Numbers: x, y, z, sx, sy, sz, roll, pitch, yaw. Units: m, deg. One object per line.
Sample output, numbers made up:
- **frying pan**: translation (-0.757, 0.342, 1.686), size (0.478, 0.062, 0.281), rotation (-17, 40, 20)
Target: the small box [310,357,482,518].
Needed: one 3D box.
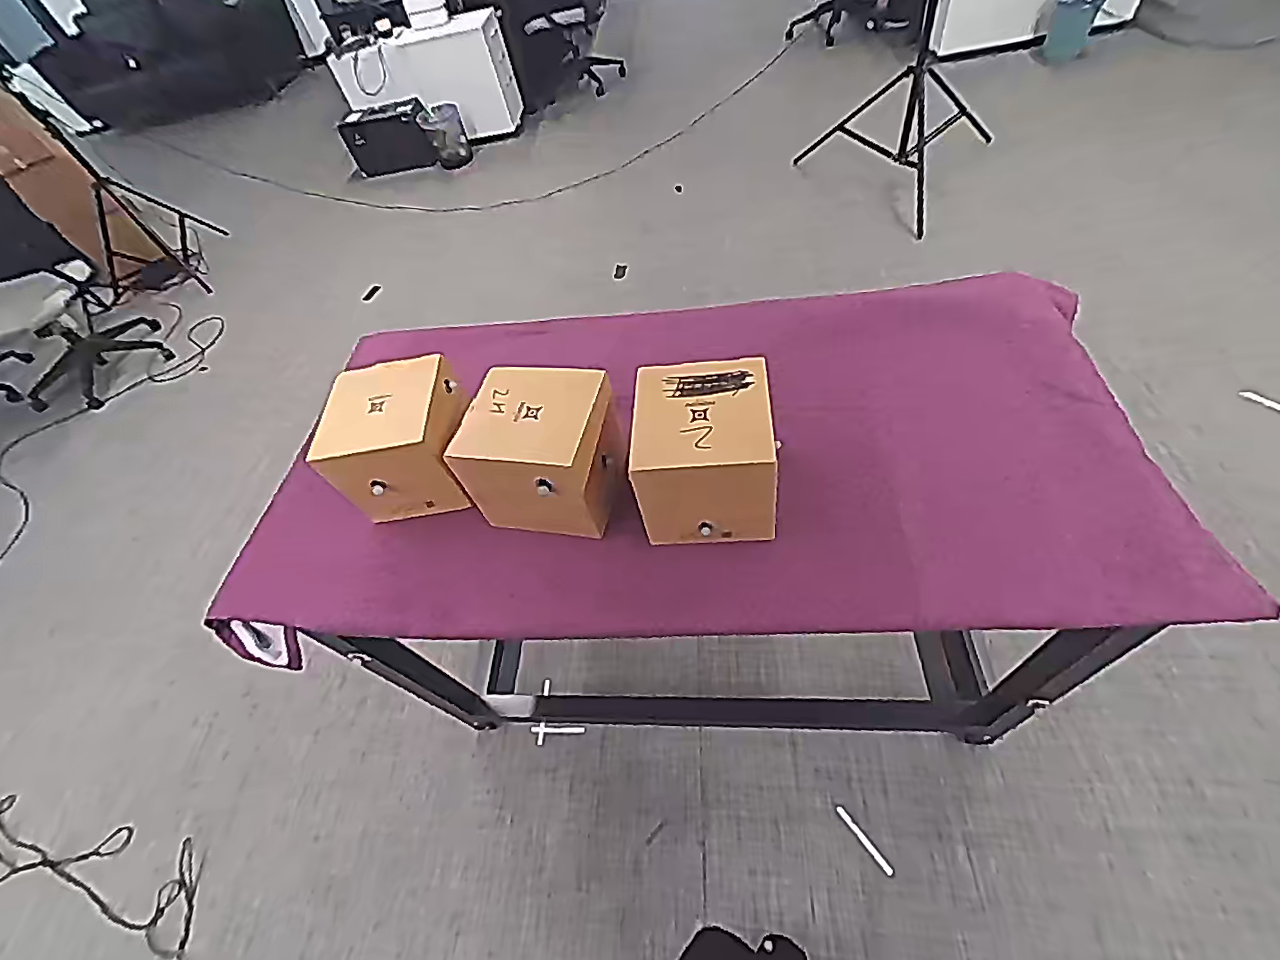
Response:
- **small box**: translation (-0.356, -0.056, 0.827), size (0.168, 0.176, 0.179), rotation (-10, 53, 5)
